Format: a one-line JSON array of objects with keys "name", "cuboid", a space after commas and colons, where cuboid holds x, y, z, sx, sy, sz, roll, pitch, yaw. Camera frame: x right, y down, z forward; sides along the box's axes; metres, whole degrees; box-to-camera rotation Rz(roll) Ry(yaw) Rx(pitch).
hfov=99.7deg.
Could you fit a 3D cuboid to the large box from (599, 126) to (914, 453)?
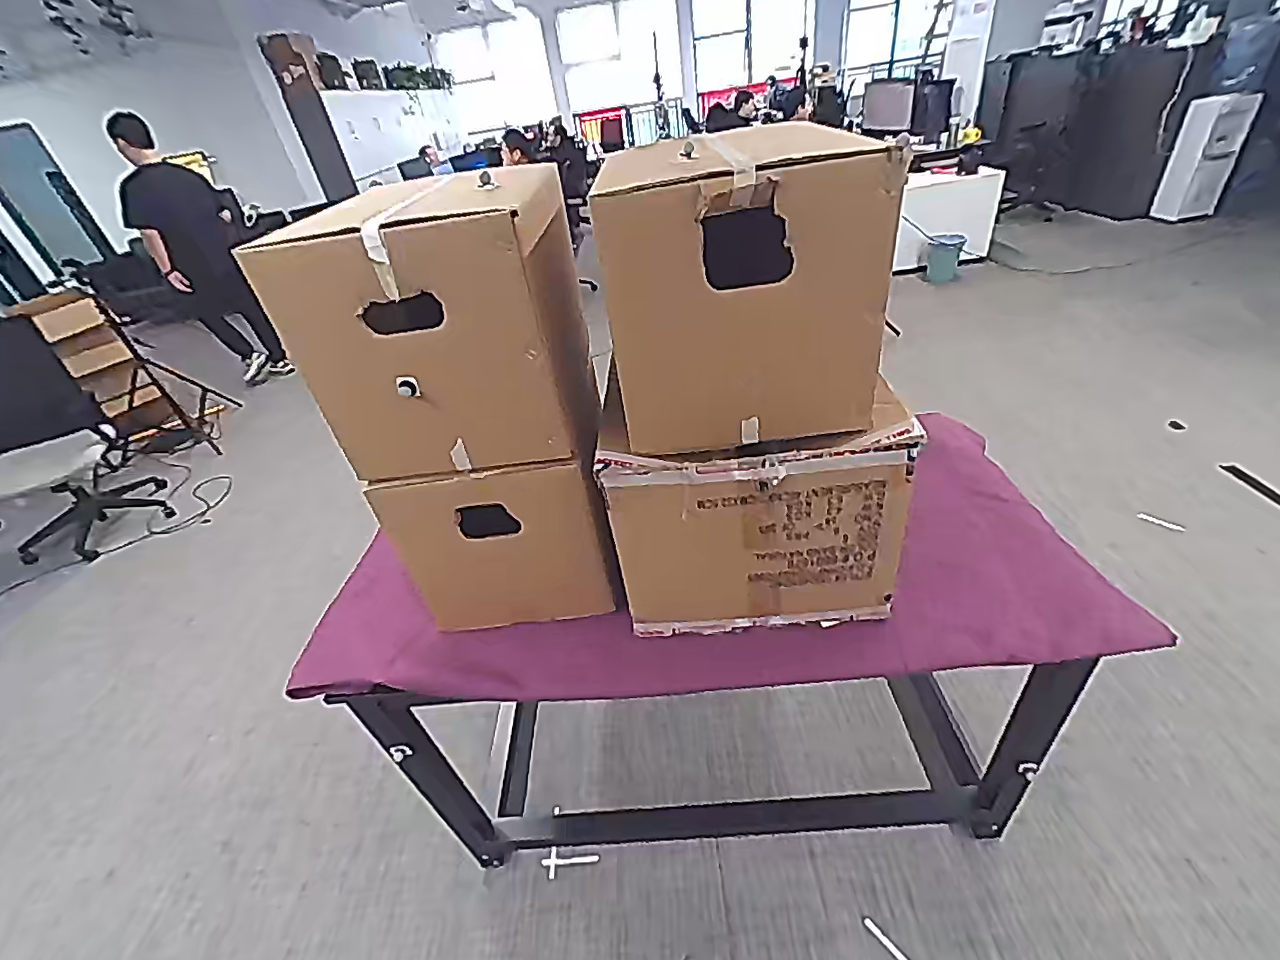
[{"name": "large box", "cuboid": [0.125, -0.287, 0.767, 0.320, 0.320, 0.408, -7, 36, 5]}]
